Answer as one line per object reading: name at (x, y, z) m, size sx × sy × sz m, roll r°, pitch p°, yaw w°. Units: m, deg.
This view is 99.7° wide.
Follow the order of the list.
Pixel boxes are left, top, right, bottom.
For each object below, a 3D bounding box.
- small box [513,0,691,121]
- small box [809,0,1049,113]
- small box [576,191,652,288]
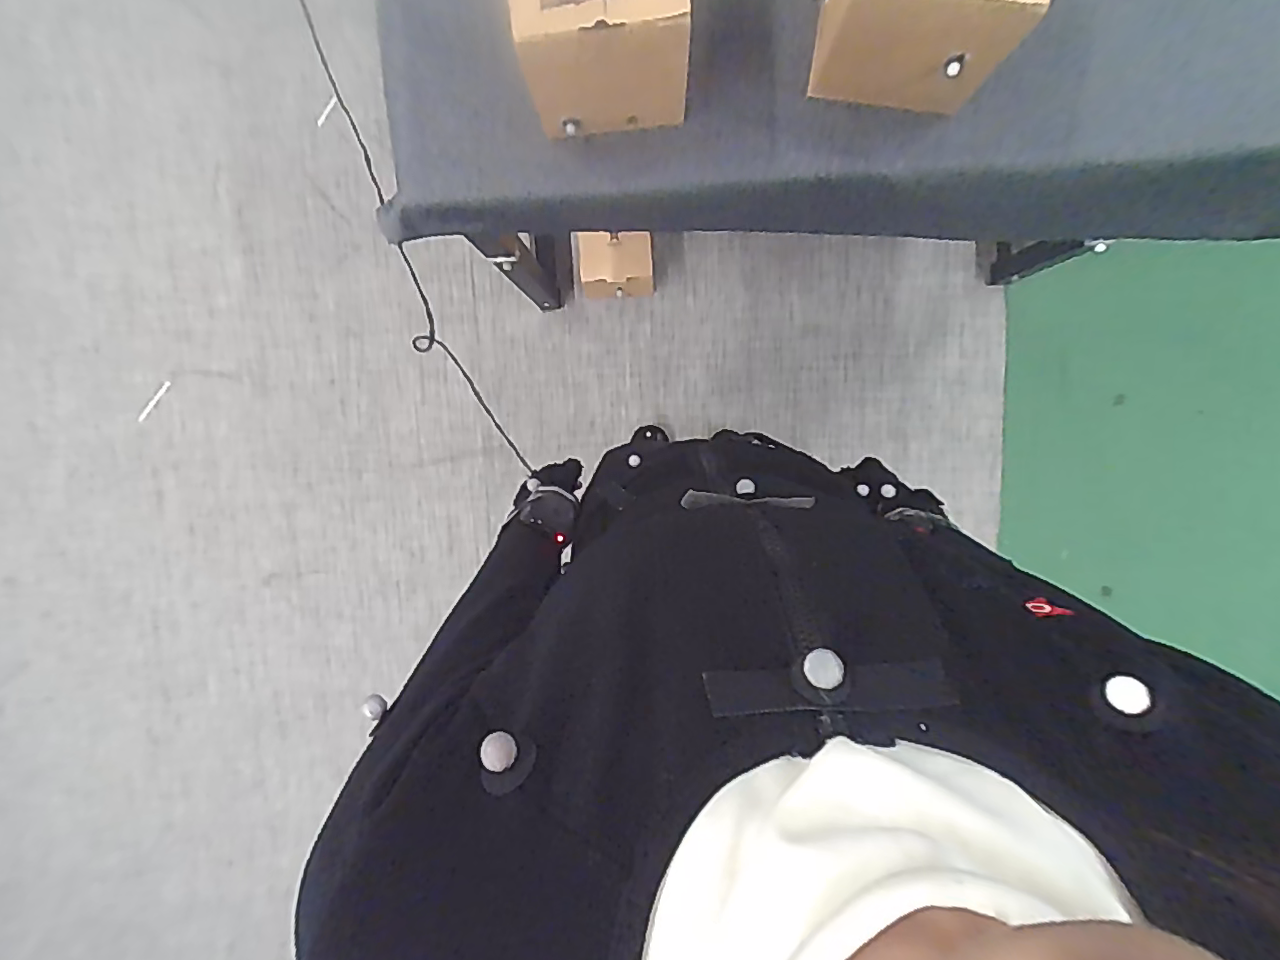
small box at (-0.036, -0.507, 0.565) m, size 0.168 × 0.176 × 0.179 m, roll -4°, pitch 95°, yaw 1°
small box at (0.294, -0.516, 0.559) m, size 0.179 × 0.176 × 0.168 m, roll 8°, pitch 95°, yaw 2°
small box at (-0.056, -0.565, 1.295) m, size 0.168 × 0.176 × 0.179 m, roll -2°, pitch 97°, yaw 2°
